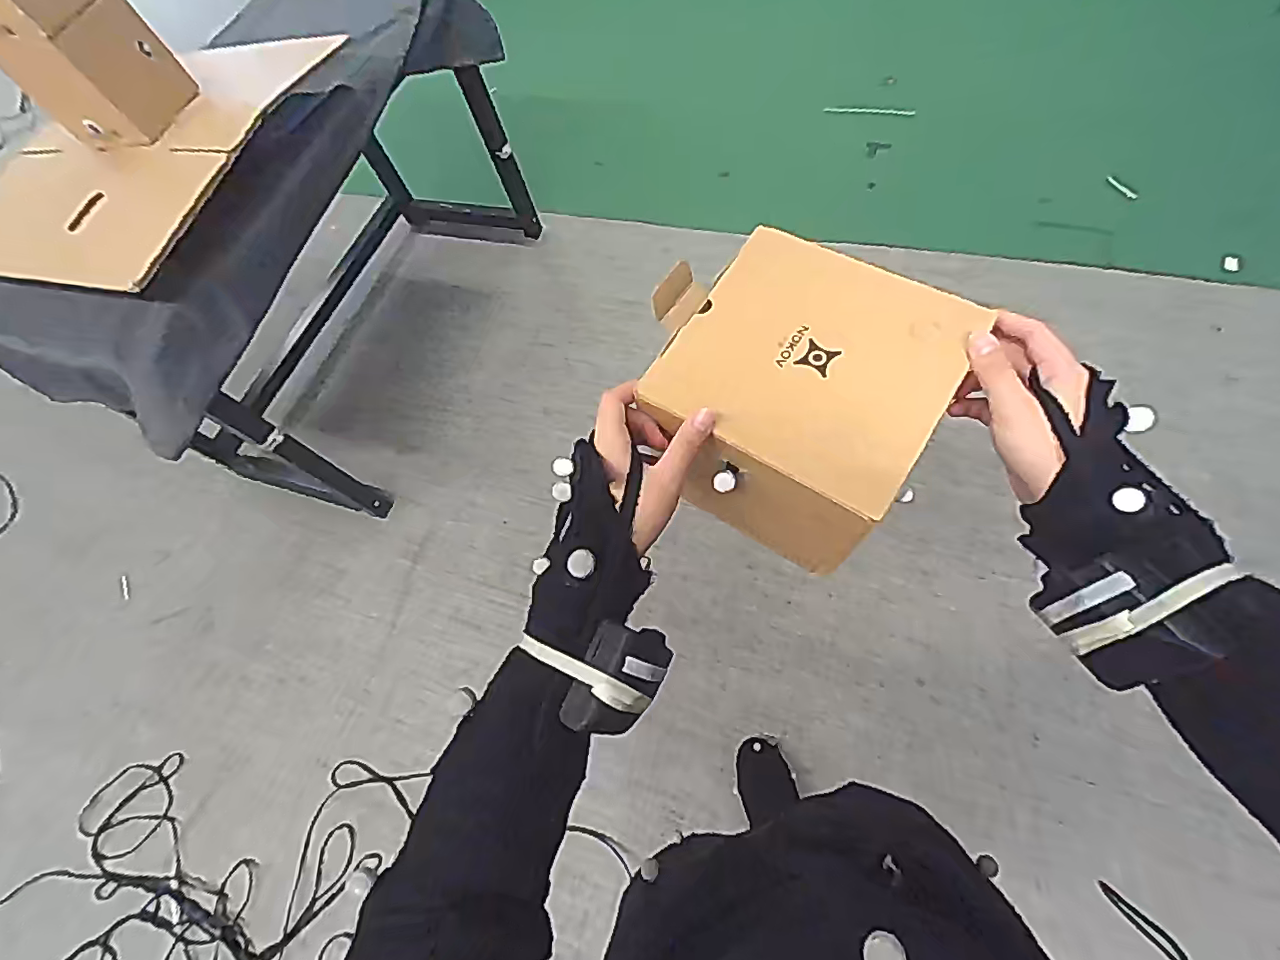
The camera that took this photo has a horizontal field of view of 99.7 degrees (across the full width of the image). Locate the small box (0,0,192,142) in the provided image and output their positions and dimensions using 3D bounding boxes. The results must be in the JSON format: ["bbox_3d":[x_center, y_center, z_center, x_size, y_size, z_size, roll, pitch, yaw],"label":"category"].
[{"bbox_3d":[-0.963,-0.744,0.966,0.168,0.176,0.179,4,66,16],"label":"small box"}]

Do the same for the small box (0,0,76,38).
[{"bbox_3d":[-0.999,-0.817,0.823,0.168,0.176,0.179,3,65,15],"label":"small box"}]
